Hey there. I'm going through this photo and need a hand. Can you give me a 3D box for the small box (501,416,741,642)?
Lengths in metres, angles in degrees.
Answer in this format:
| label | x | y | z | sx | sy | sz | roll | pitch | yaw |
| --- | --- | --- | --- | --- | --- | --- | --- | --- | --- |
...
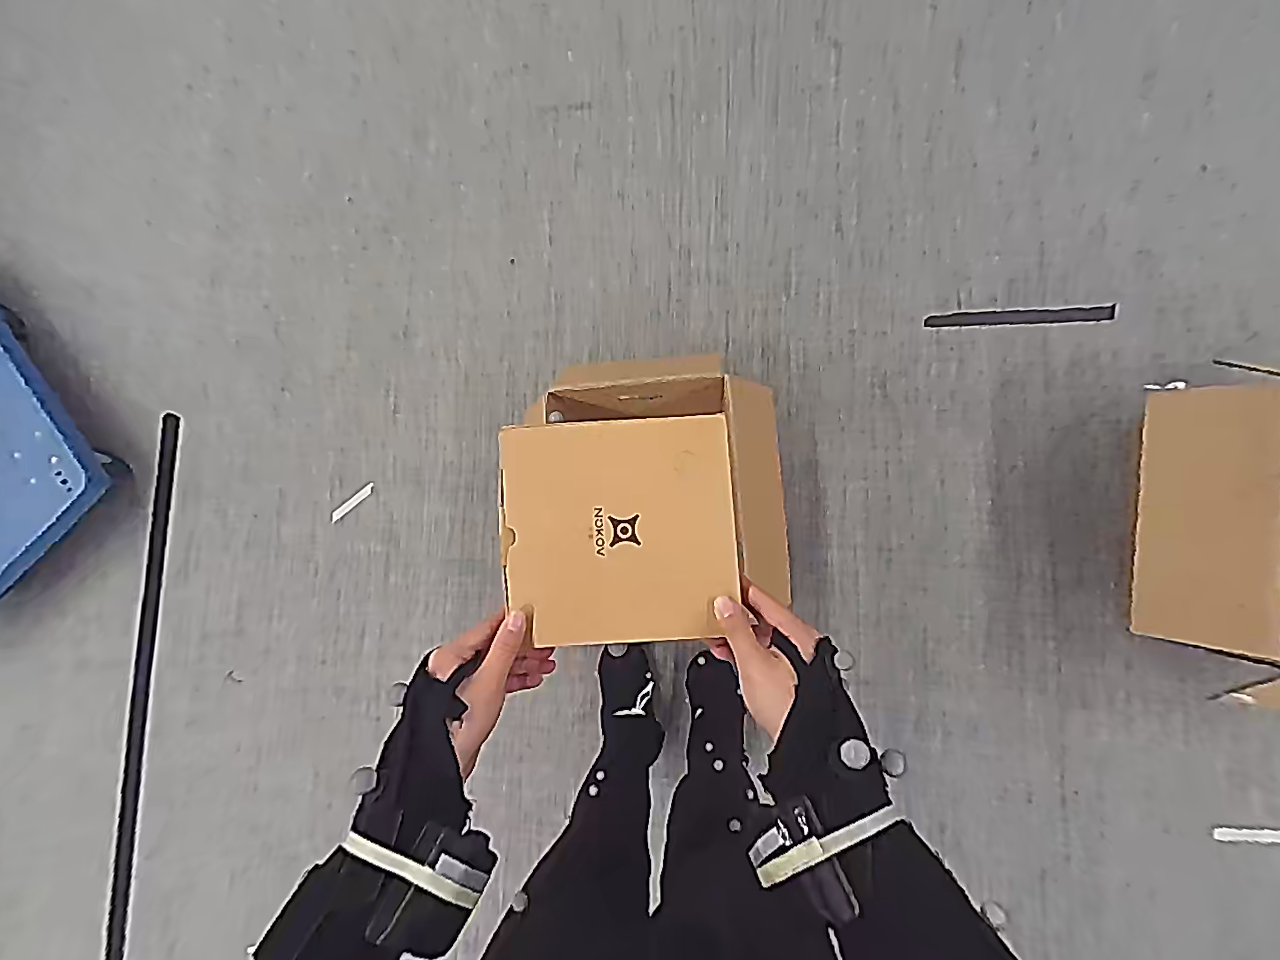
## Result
| label | x | y | z | sx | sy | sz | roll | pitch | yaw |
| --- | --- | --- | --- | --- | --- | --- | --- | --- | --- |
| small box | -0.014 | 0.041 | 0.486 | 0.179 | 0.176 | 0.168 | -4 | 85 | 2 |
